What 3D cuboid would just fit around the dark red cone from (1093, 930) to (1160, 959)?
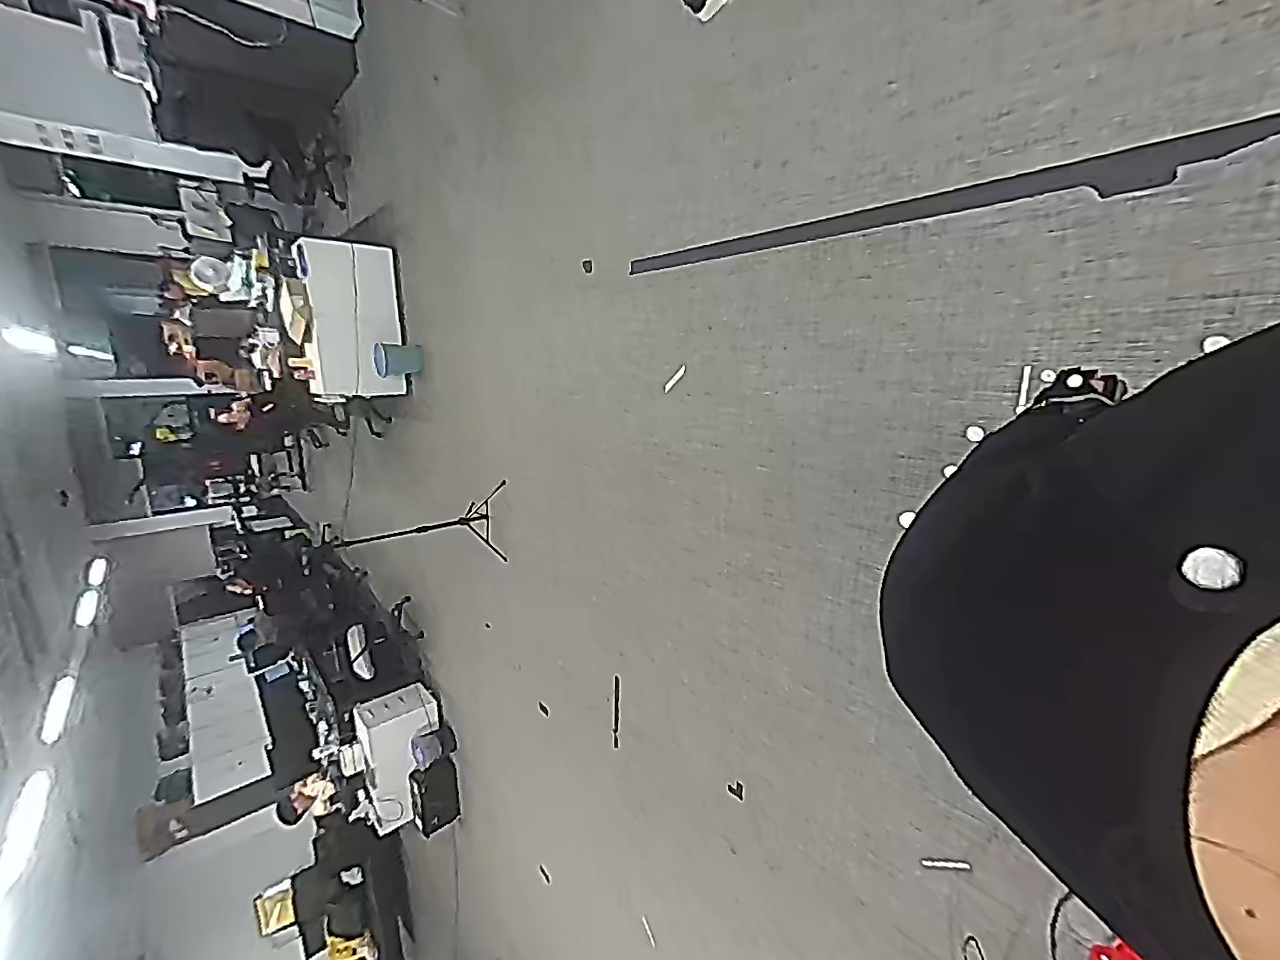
[{"bbox_3d":[0.953,1.106,1.029,0.201,0.394,0.202,14,109,48],"label":"dark red cone"}]
